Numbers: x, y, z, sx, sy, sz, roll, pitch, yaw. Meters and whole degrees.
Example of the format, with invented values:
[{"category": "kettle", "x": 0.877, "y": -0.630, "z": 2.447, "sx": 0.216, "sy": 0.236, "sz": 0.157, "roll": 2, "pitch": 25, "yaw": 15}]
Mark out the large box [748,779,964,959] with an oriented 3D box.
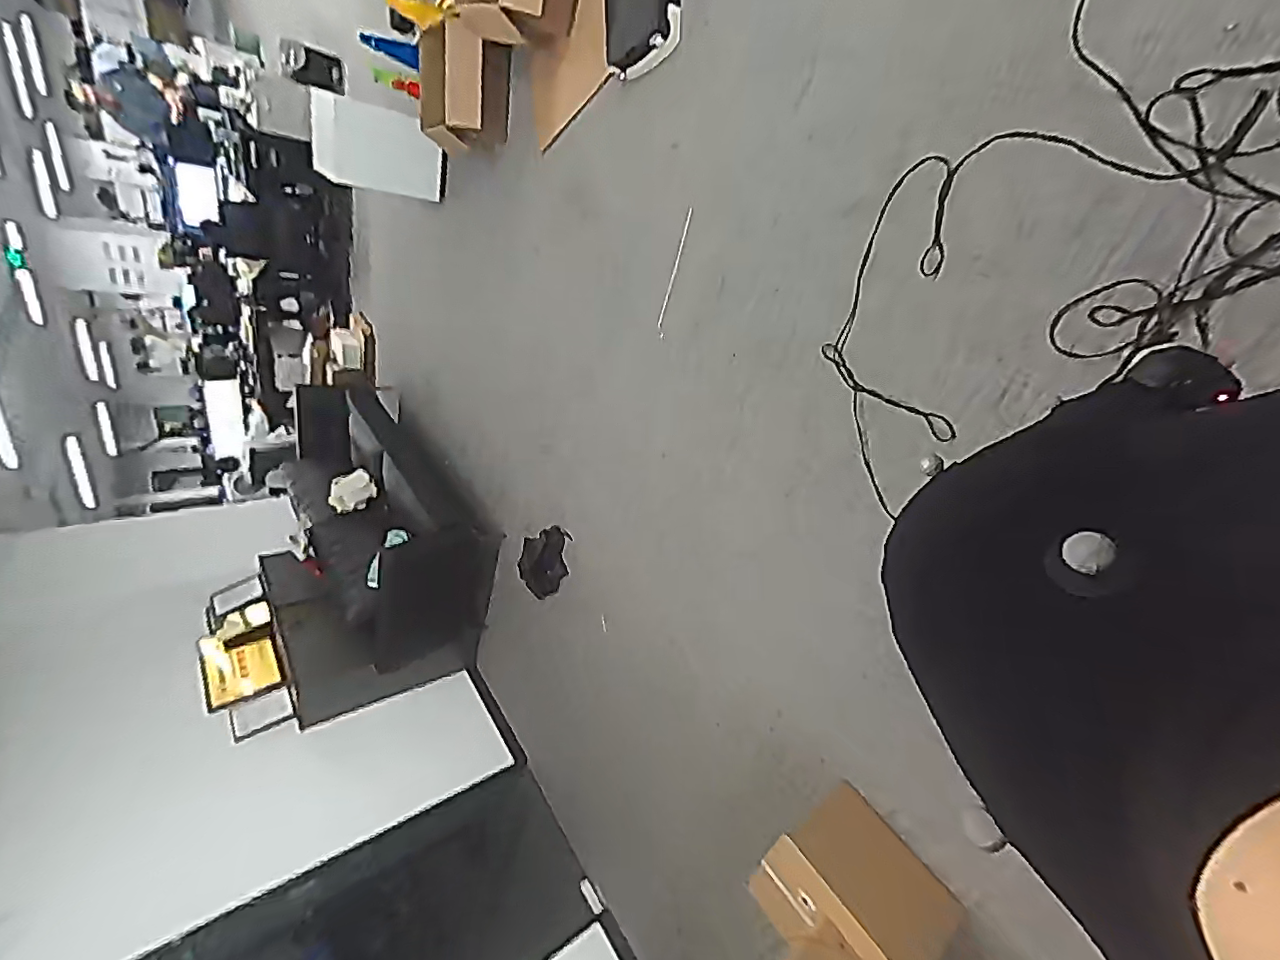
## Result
[{"category": "large box", "x": 0.589, "y": 1.160, "z": 1.517, "sx": 0.408, "sy": 0.320, "sz": 0.320, "roll": 44, "pitch": 128, "yaw": 38}]
